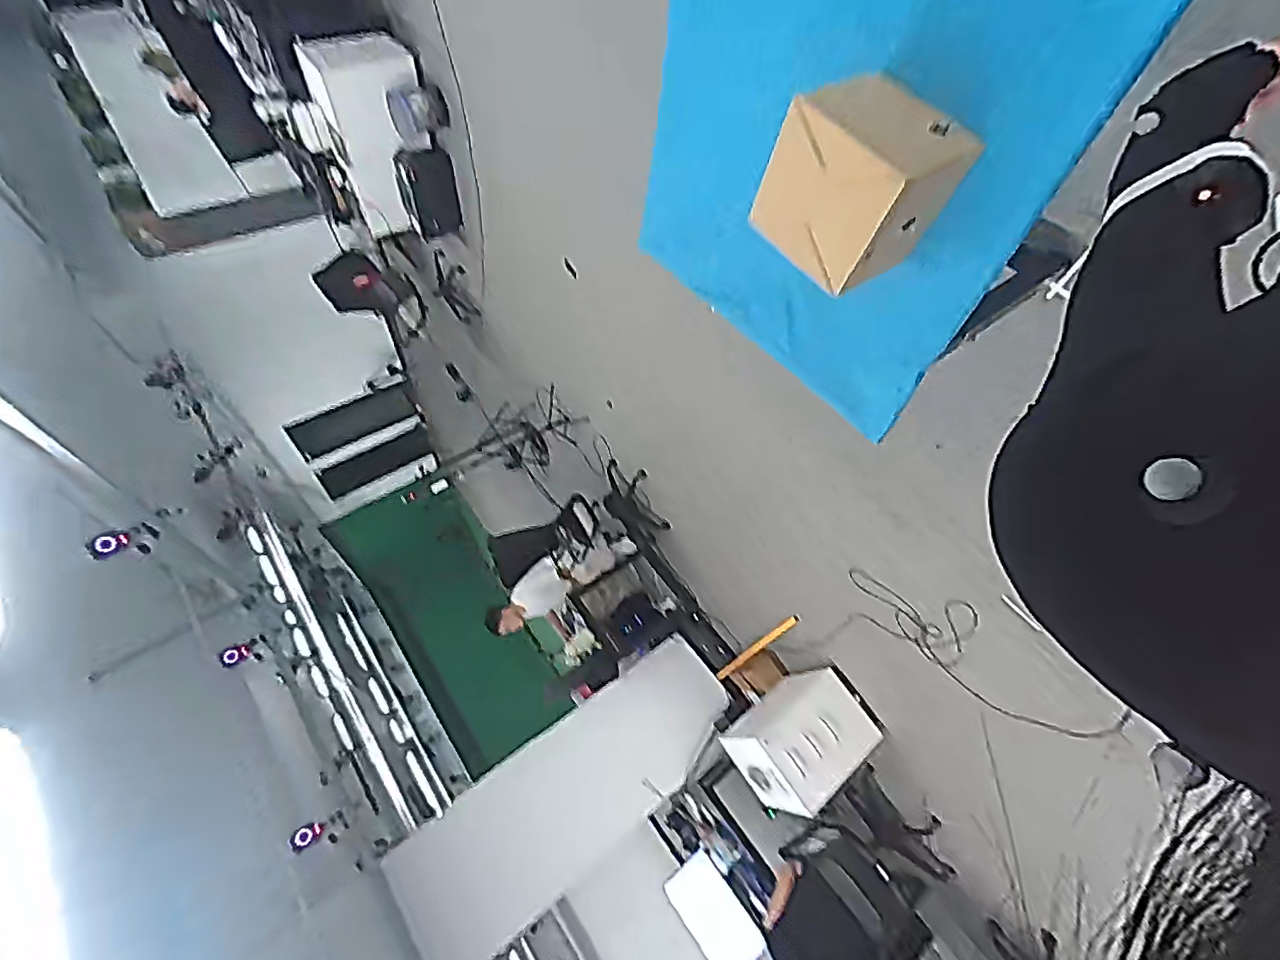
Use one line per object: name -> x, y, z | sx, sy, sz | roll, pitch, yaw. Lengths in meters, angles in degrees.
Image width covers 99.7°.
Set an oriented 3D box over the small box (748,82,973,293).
small box -> 0.275, -0.379, 0.711 | 0.179, 0.176, 0.168 | 50, 153, 18
